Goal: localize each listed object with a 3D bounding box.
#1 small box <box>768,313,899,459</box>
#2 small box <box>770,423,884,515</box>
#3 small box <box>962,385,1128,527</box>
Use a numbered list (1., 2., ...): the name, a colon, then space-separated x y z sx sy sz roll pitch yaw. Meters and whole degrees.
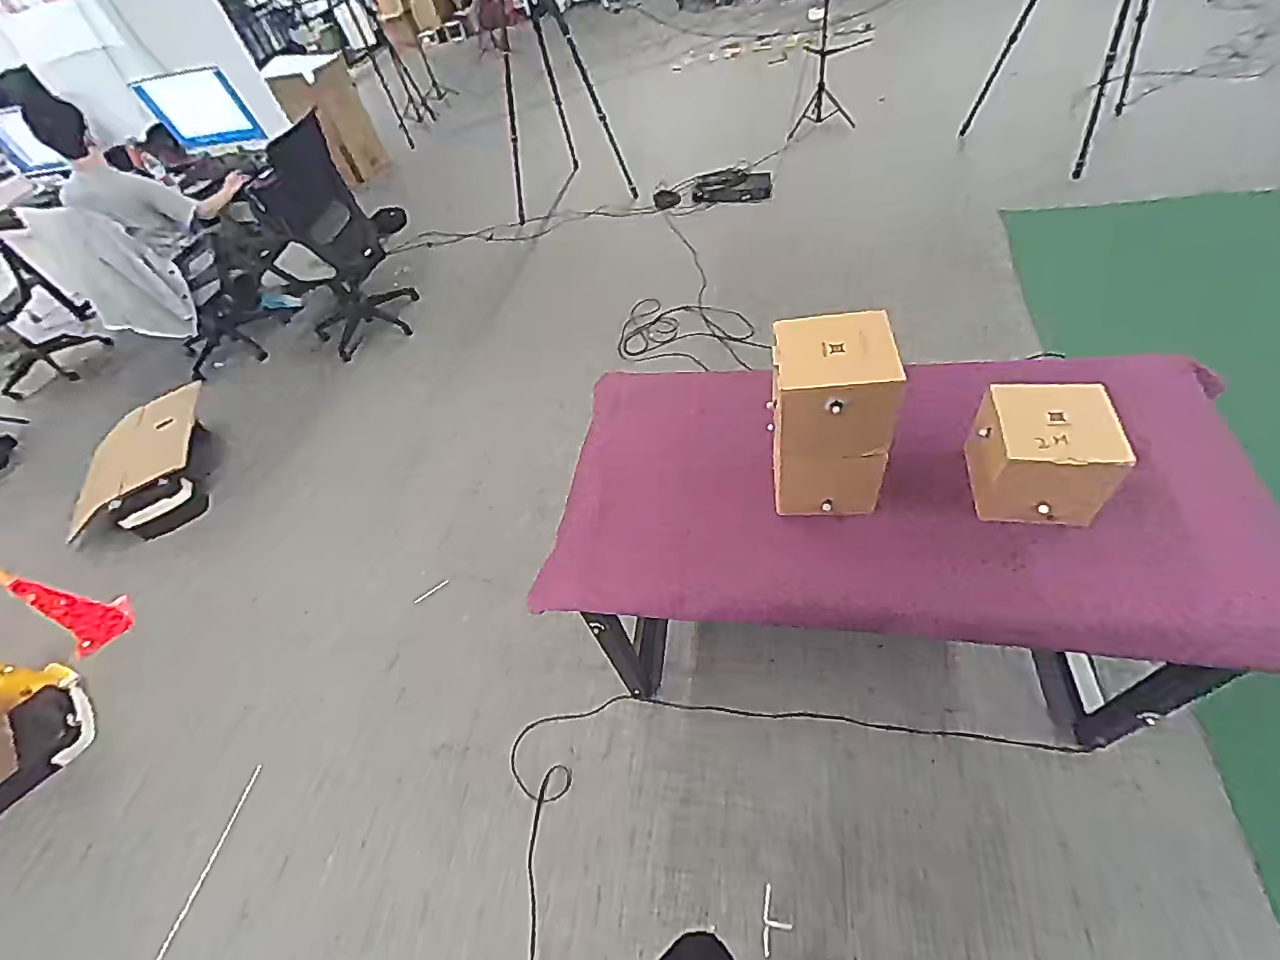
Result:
1. small box: 0.304 -0.147 0.884 0.179 0.176 0.168 -2 52 12
2. small box: 0.337 -0.046 1.009 0.179 0.176 0.168 -1 51 12
3. small box: 0.672 -0.042 0.925 0.168 0.176 0.179 3 53 16
